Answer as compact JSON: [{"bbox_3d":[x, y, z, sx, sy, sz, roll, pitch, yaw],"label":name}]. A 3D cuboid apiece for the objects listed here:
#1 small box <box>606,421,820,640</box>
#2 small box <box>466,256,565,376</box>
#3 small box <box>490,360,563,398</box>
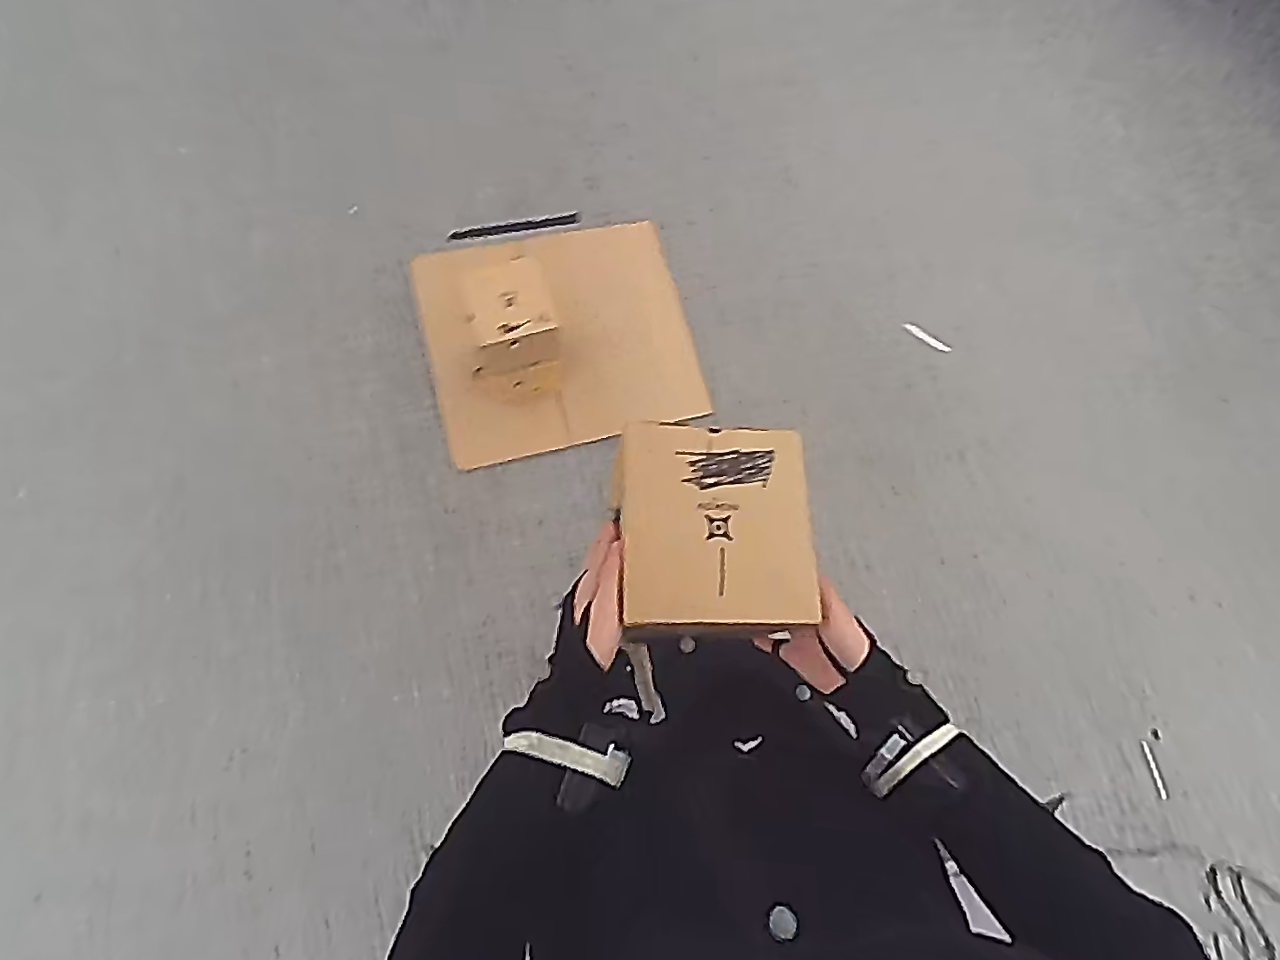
[{"bbox_3d":[0.055,0.060,0.531,0.168,0.176,0.179,2,70,-7],"label":"small box"},{"bbox_3d":[-0.269,-0.355,1.188,0.168,0.176,0.179,-17,80,-11],"label":"small box"},{"bbox_3d":[-0.291,-0.318,1.347,0.168,0.176,0.179,-16,81,-11],"label":"small box"}]
